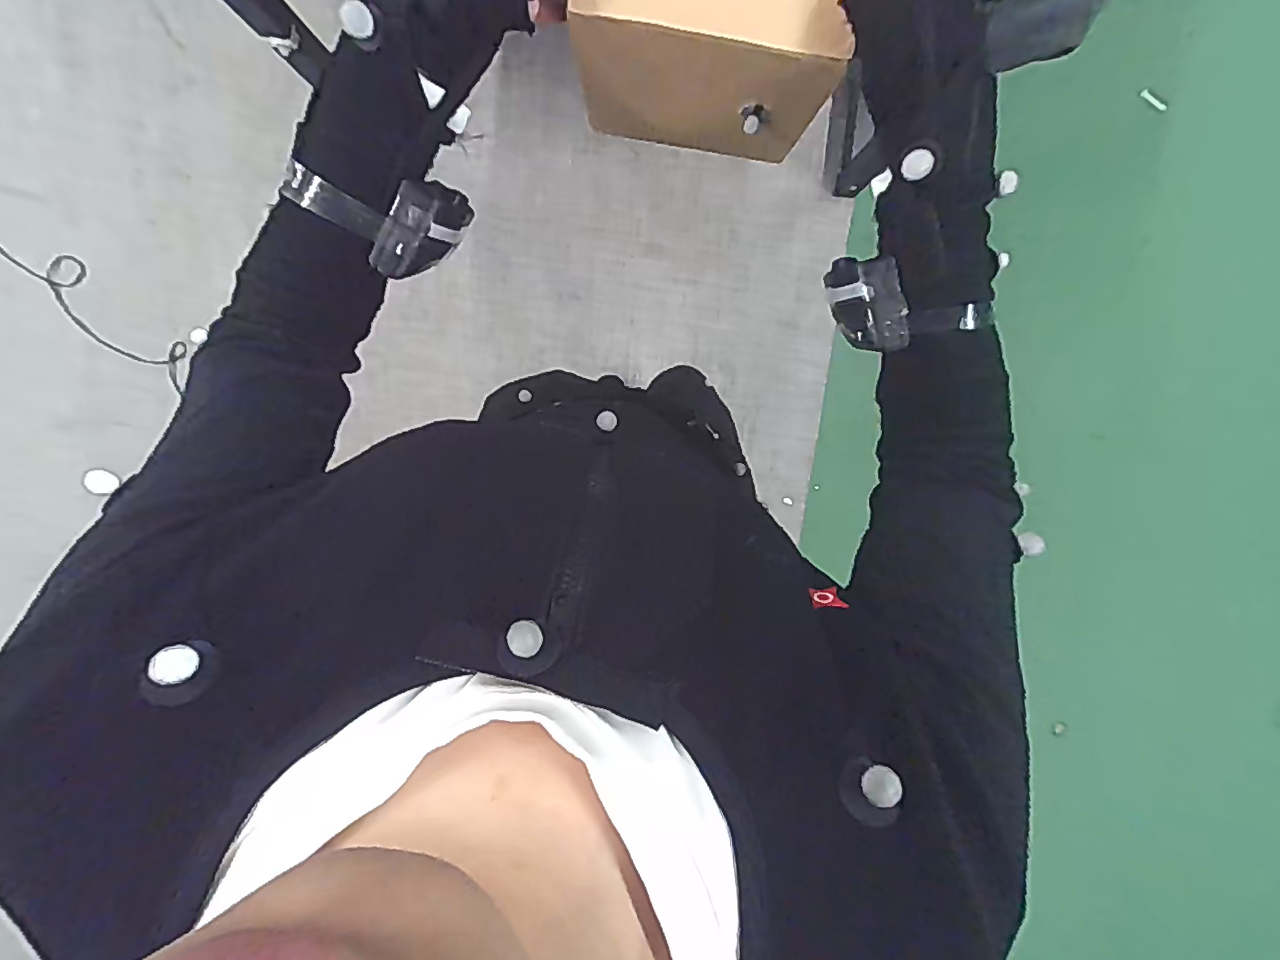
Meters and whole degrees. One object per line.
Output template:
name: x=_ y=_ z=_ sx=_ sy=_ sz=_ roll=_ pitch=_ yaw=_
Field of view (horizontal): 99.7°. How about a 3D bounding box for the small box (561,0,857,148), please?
small box: x=0.051 y=-0.363 z=0.384 sx=0.179 sy=0.176 sz=0.168 roll=8 pitch=101 yaw=0
